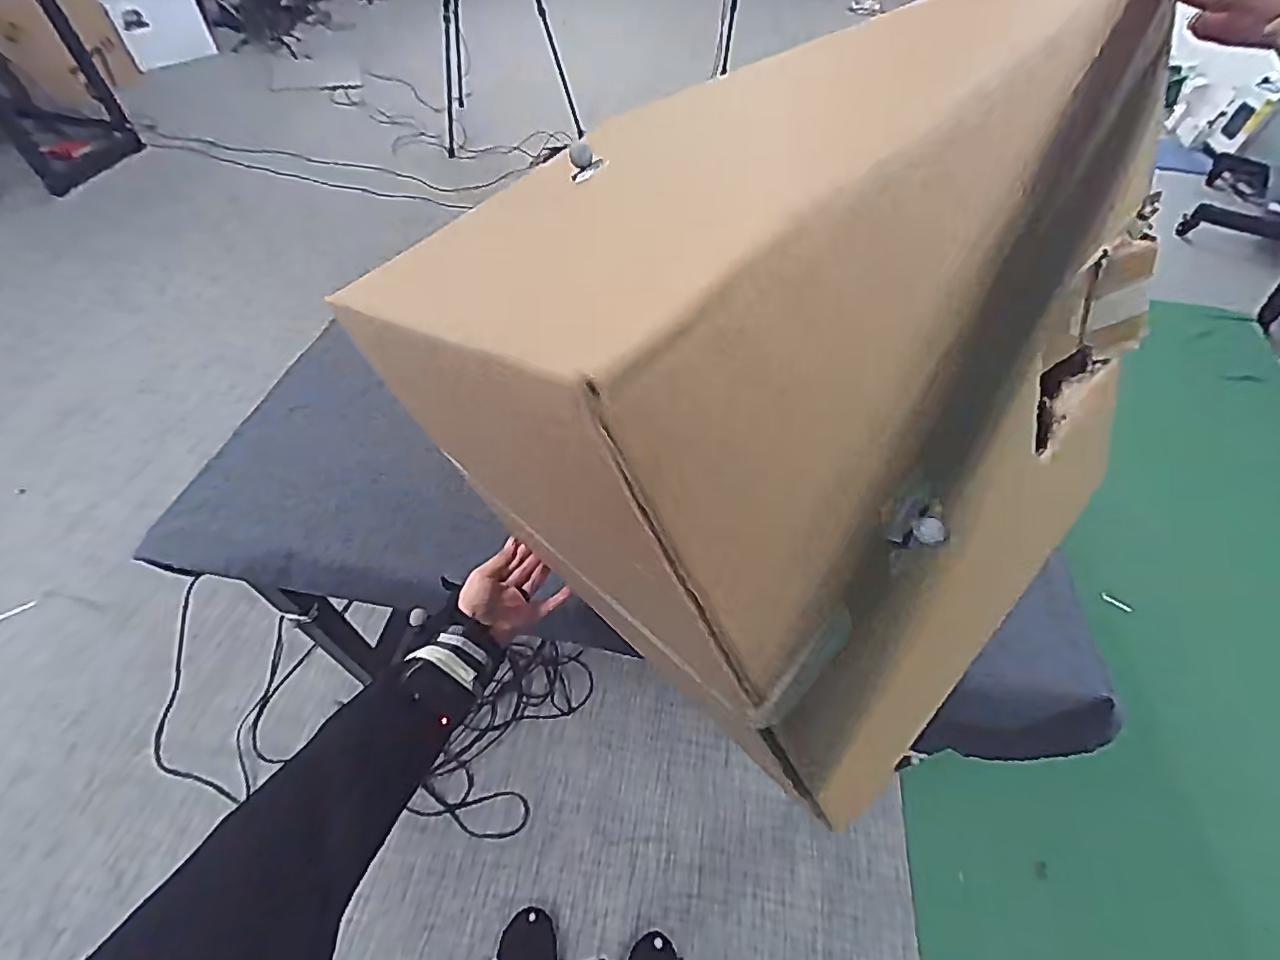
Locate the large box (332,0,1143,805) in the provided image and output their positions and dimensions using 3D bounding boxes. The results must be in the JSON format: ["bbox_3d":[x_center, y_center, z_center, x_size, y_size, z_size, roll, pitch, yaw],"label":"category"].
[{"bbox_3d":[0.040,-0.065,0.406,0.320,0.320,0.408,-43,39,-18],"label":"large box"}]
